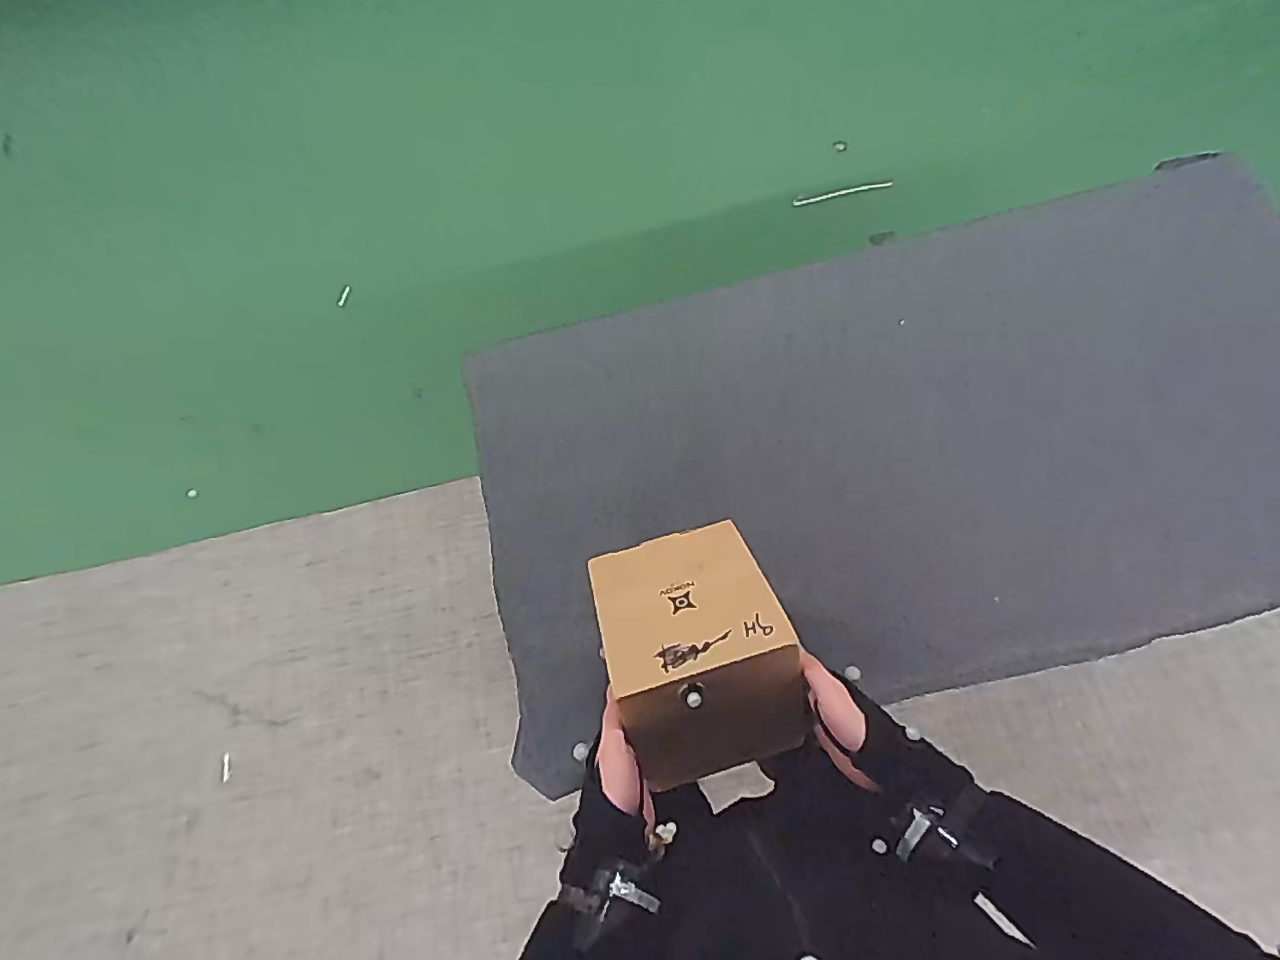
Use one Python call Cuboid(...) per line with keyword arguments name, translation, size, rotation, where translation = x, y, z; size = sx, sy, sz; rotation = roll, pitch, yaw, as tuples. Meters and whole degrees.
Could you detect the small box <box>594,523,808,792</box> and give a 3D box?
Cuboid(name="small box", translation=(0.060, 0.179, 0.561), size=(0.168, 0.176, 0.179), rotation=(-18, 34, -2))
